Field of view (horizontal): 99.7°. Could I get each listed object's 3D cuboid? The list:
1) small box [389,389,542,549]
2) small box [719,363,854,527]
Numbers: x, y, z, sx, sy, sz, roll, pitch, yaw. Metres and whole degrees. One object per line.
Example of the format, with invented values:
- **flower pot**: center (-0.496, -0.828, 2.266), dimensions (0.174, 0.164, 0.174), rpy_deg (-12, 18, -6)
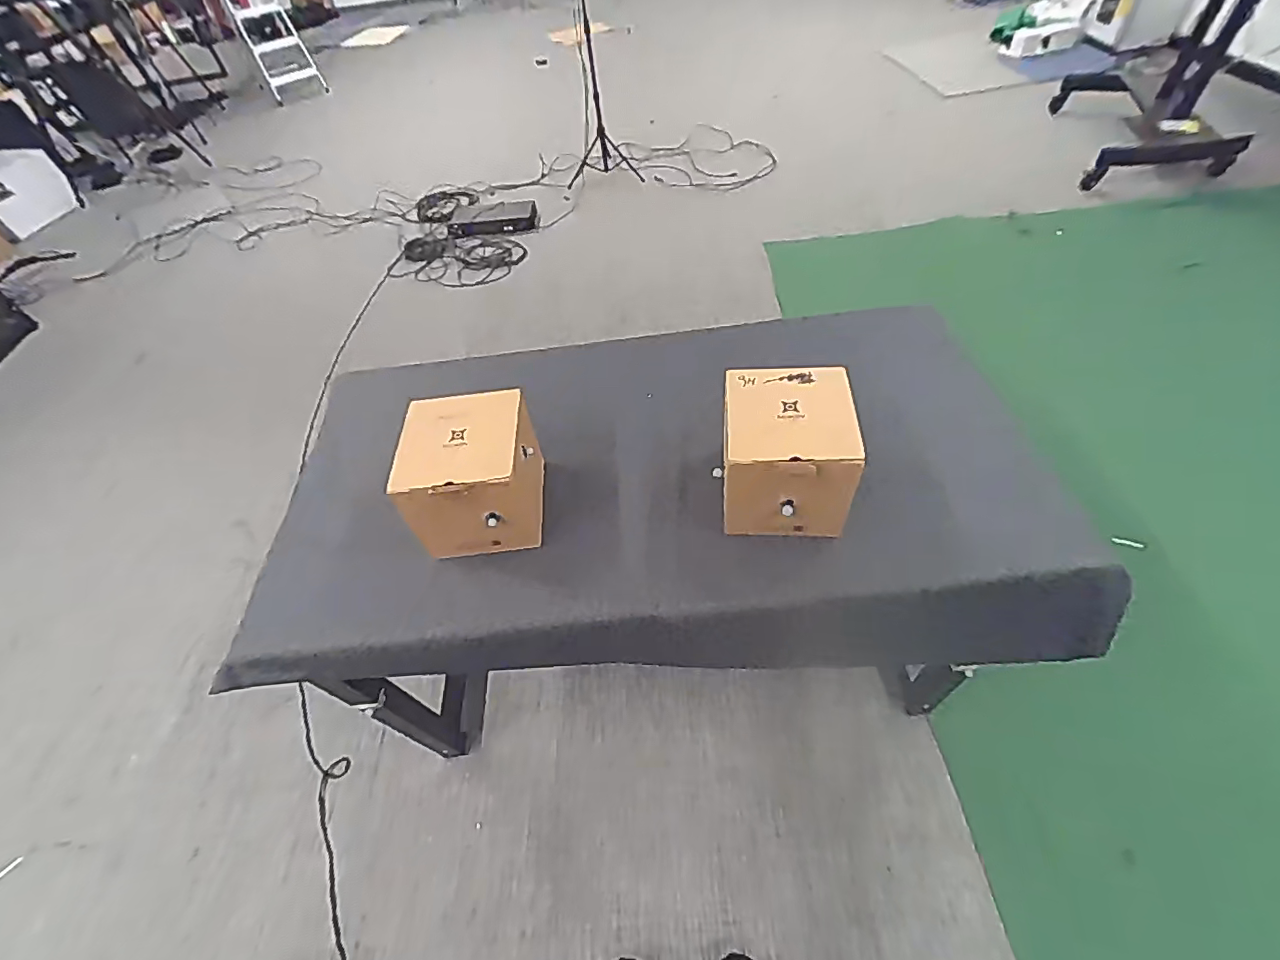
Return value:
- **small box**: center (-0.247, -0.009, 0.816), dimensions (0.168, 0.176, 0.179), rpy_deg (-7, 50, 0)
- **small box**: center (0.199, -0.045, 0.779), dimensions (0.168, 0.176, 0.179), rpy_deg (0, 53, 8)
